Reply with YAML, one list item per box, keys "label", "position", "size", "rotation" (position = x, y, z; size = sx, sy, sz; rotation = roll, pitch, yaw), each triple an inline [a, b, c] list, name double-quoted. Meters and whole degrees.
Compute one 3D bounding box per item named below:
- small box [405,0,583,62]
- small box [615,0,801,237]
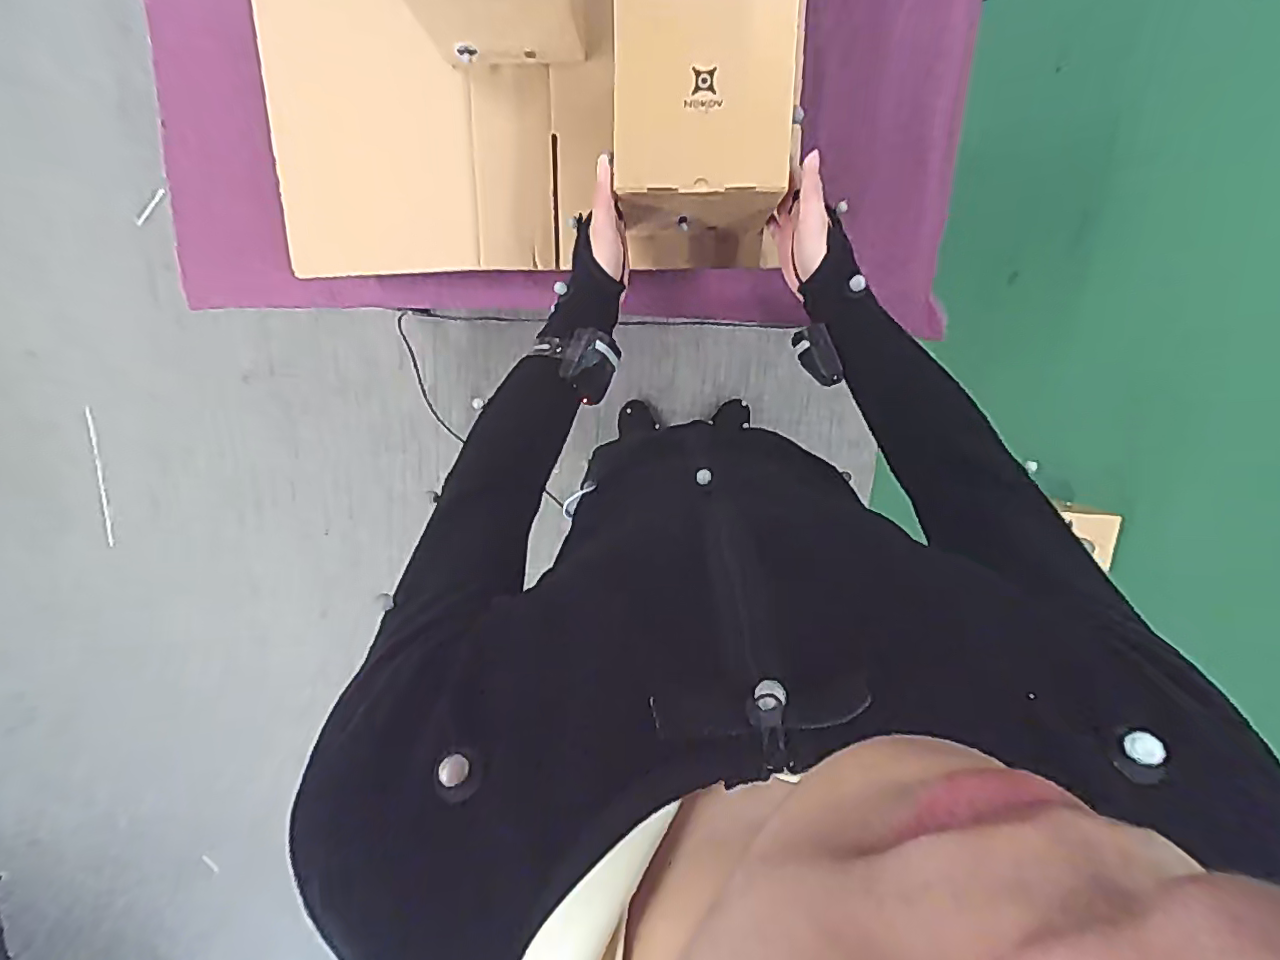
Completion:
- label: "small box"
  position: [-0.148, -0.551, 0.535]
  size: [0.168, 0.176, 0.179]
  rotation: [0, 101, 1]
- label: "small box"
  position: [0.061, -0.369, 0.567]
  size: [0.168, 0.176, 0.179]
  rotation: [1, 103, 3]
